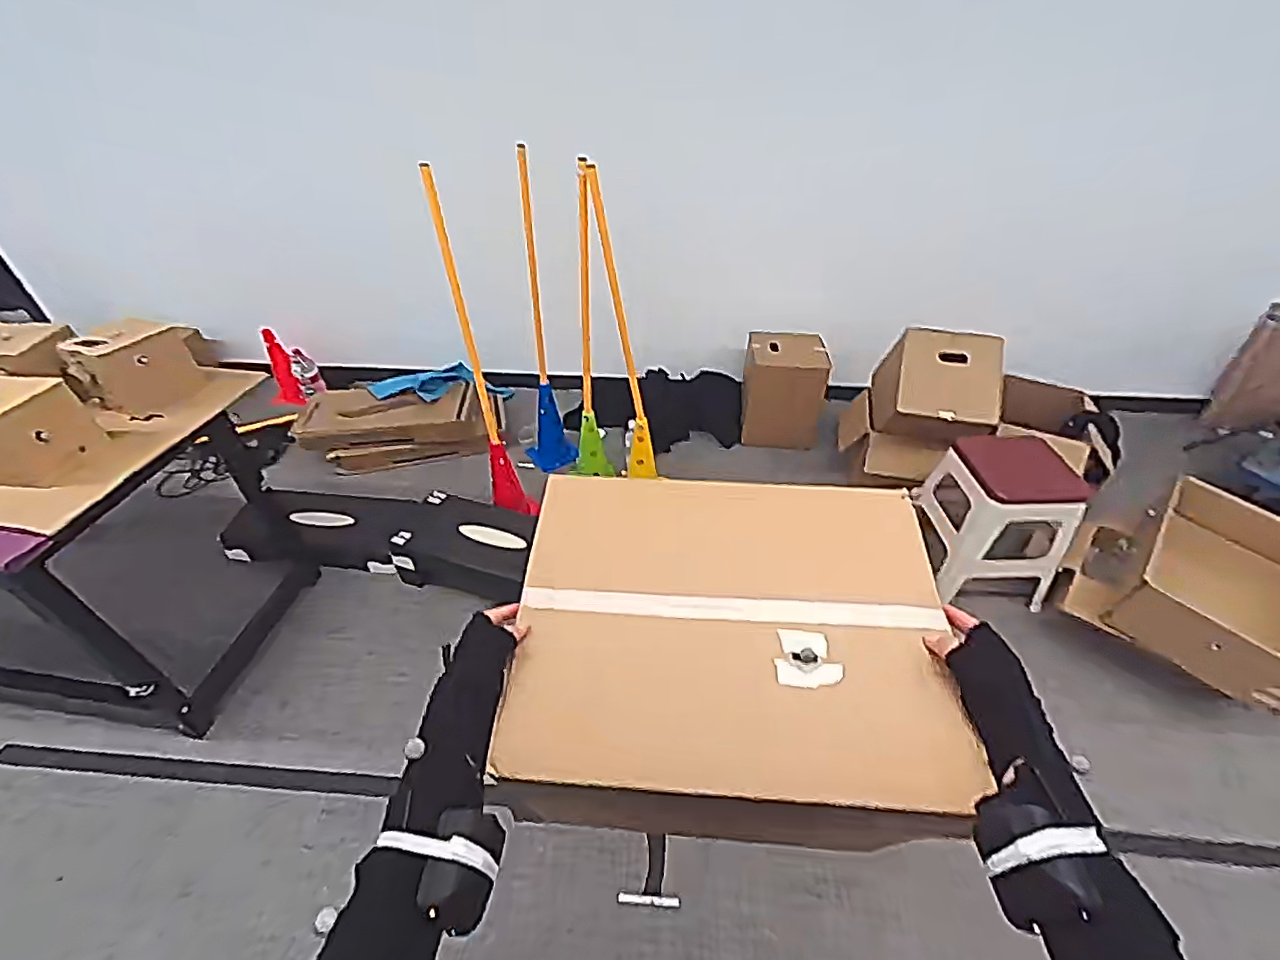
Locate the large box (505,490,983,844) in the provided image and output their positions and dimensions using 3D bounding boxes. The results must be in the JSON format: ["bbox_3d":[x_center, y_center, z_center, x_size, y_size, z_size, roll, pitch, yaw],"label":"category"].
[{"bbox_3d":[0.091,0.230,0.652,0.408,0.320,0.320,3,52,3],"label":"large box"}]
